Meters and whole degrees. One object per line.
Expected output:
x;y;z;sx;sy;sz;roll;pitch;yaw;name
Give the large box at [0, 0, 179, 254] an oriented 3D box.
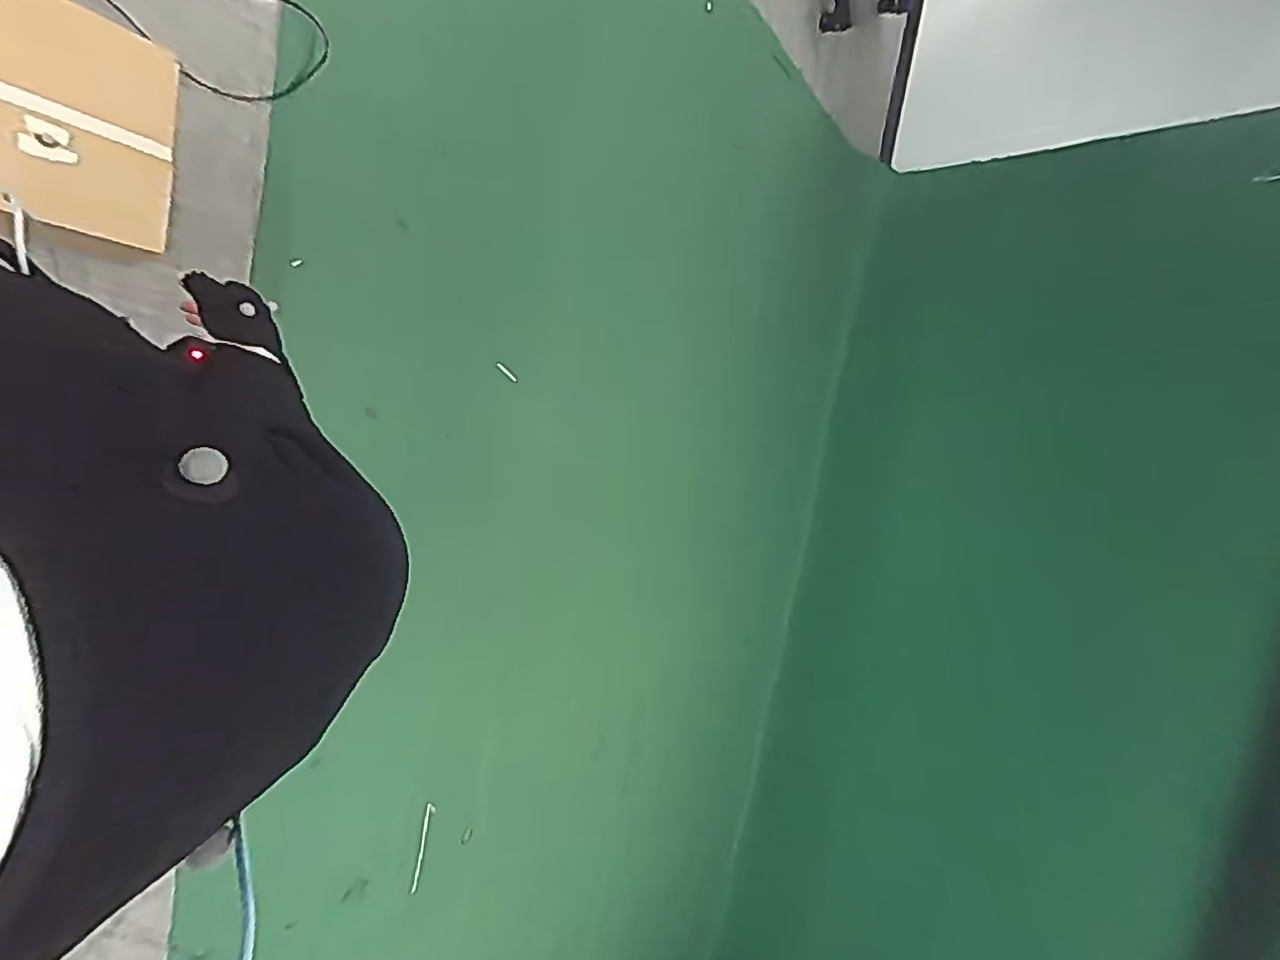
-0.994;-0.571;0.810;0.408;0.320;0.320;4;99;-51;large box
